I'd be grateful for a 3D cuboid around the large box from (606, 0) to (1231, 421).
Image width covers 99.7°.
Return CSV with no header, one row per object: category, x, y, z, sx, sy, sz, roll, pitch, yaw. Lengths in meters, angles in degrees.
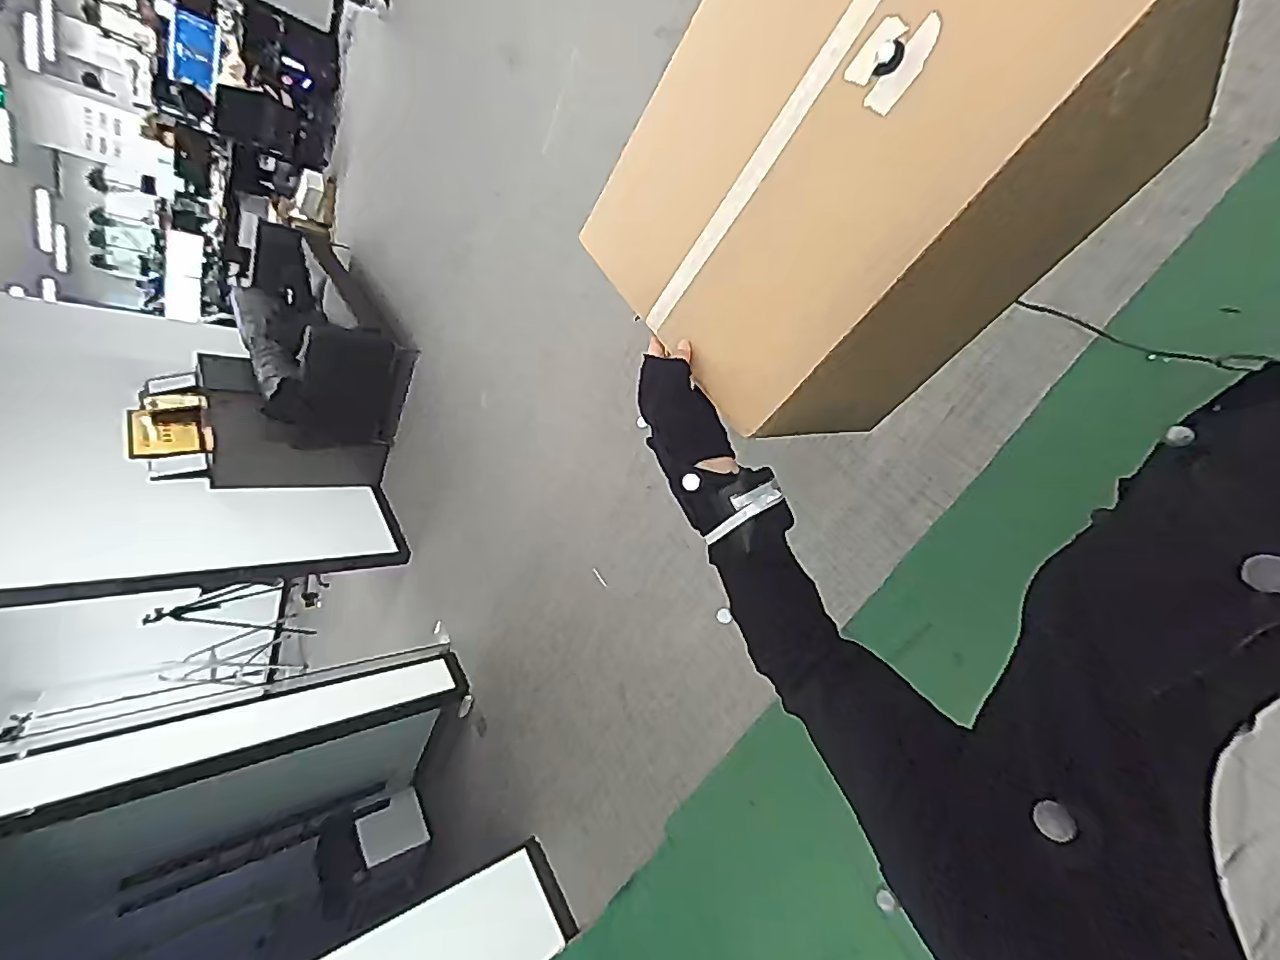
large box,0.239,-0.306,0.552,0.320,0.320,0.408,55,126,23
